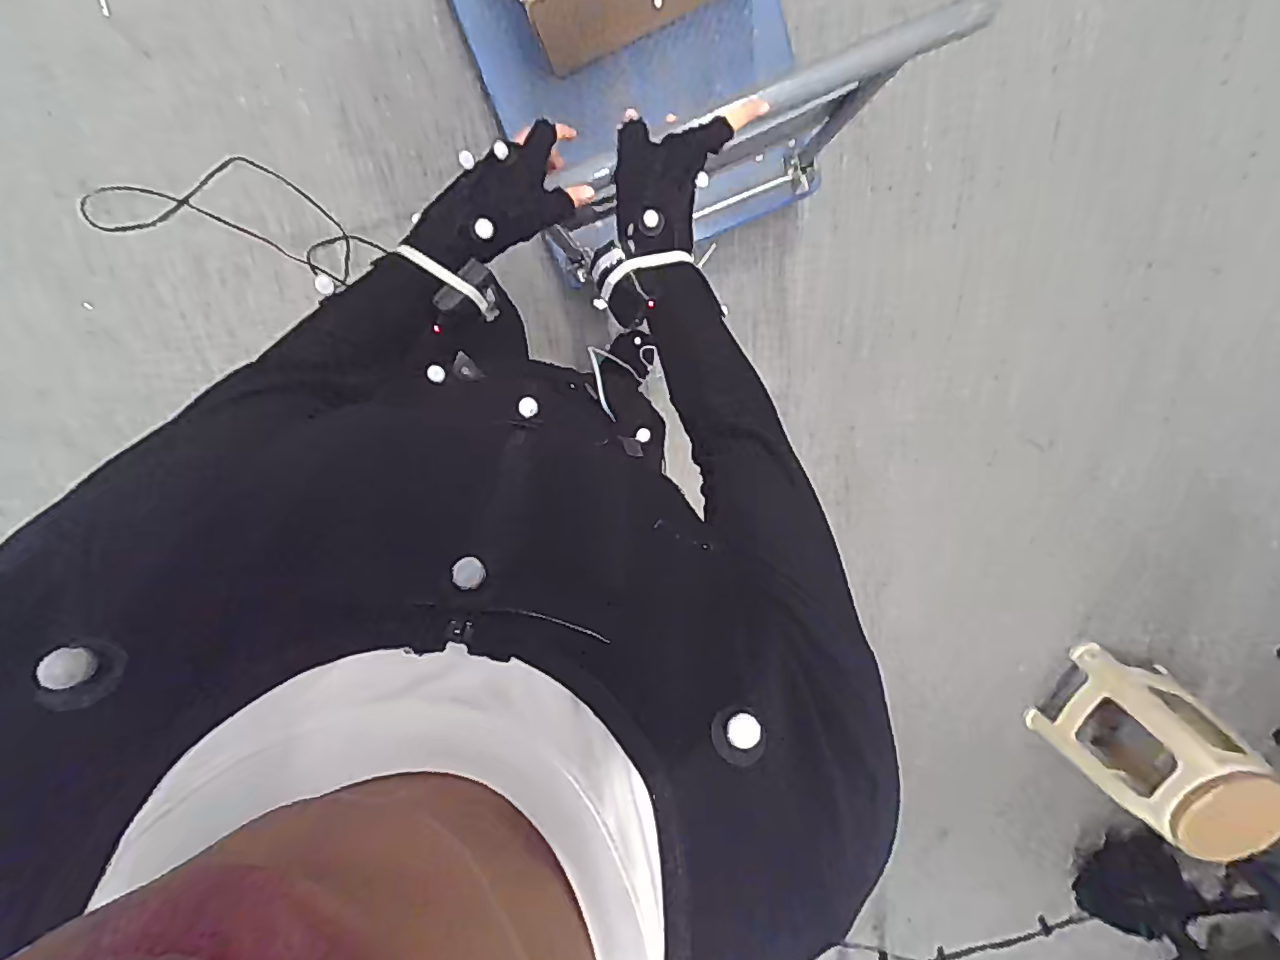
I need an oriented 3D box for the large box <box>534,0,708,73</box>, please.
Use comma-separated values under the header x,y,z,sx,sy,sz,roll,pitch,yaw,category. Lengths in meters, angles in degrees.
x,y,z,sx,sy,sz,roll,pitch,yaw,category
-0.022,-0.940,0.842,0.408,0.320,0.320,-22,108,8,large box
